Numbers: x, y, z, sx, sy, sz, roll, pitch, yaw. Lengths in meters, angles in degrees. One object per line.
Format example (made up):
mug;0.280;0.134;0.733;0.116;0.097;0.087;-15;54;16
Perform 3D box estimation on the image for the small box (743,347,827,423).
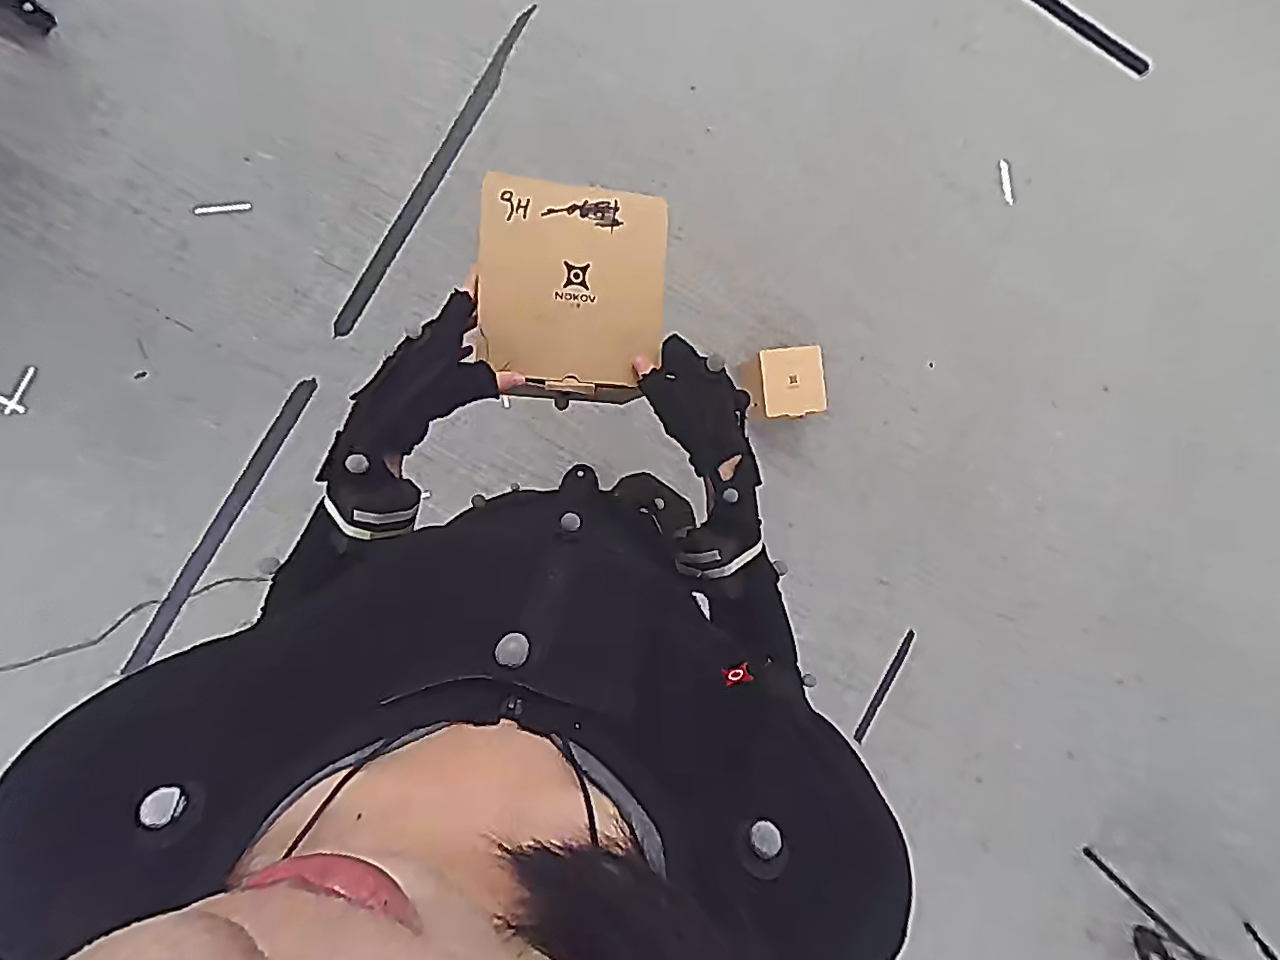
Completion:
small box;0.388;-0.250;1.467;0.168;0.176;0.179;-7;90;-6
